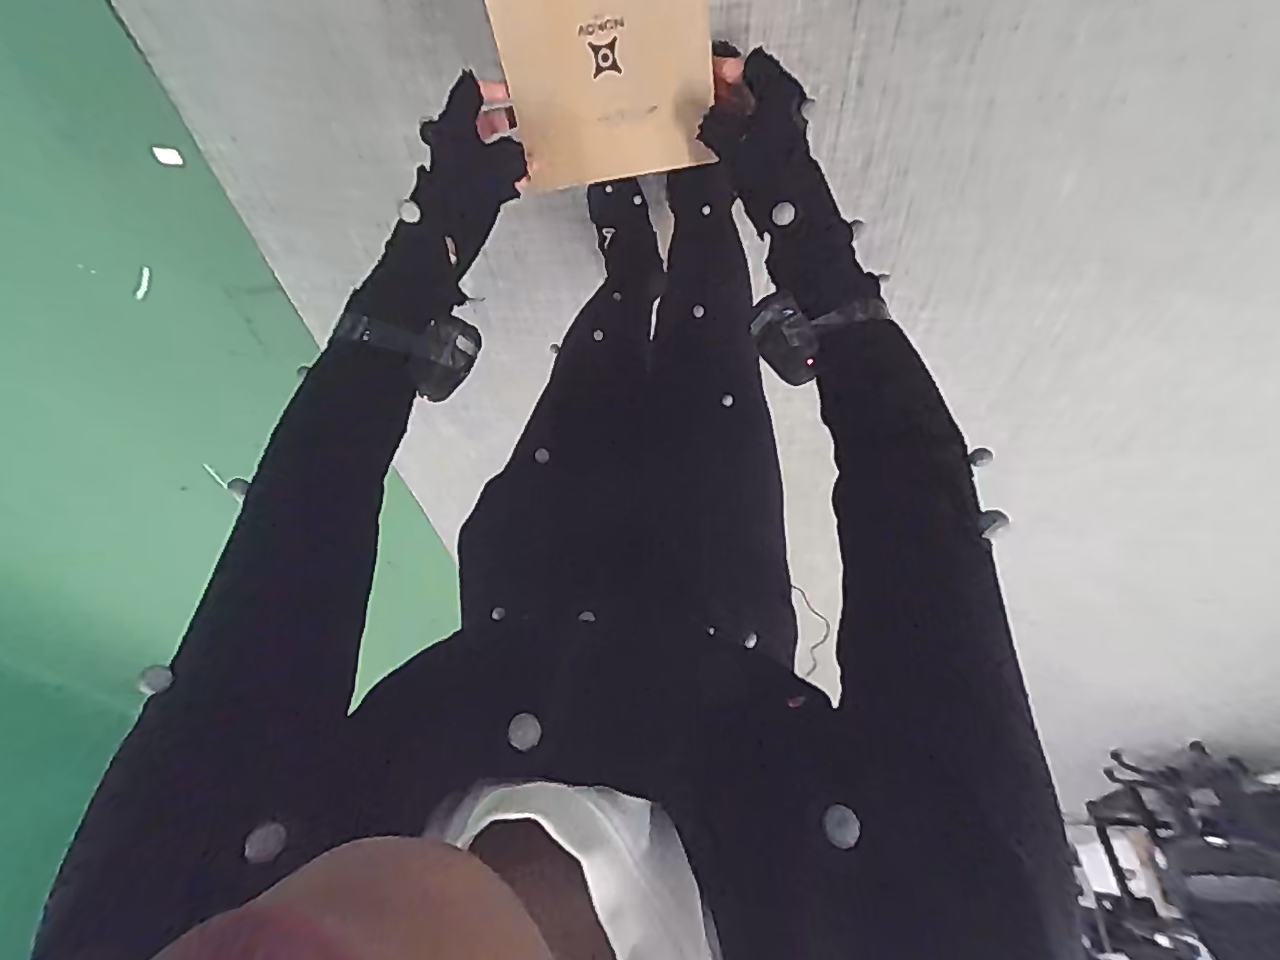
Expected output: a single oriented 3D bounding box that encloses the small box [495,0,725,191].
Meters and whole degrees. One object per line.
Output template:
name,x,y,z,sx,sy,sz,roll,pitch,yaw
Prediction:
small box,-0.015,-0.386,0.487,0.168,0.176,0.179,-5,129,12
